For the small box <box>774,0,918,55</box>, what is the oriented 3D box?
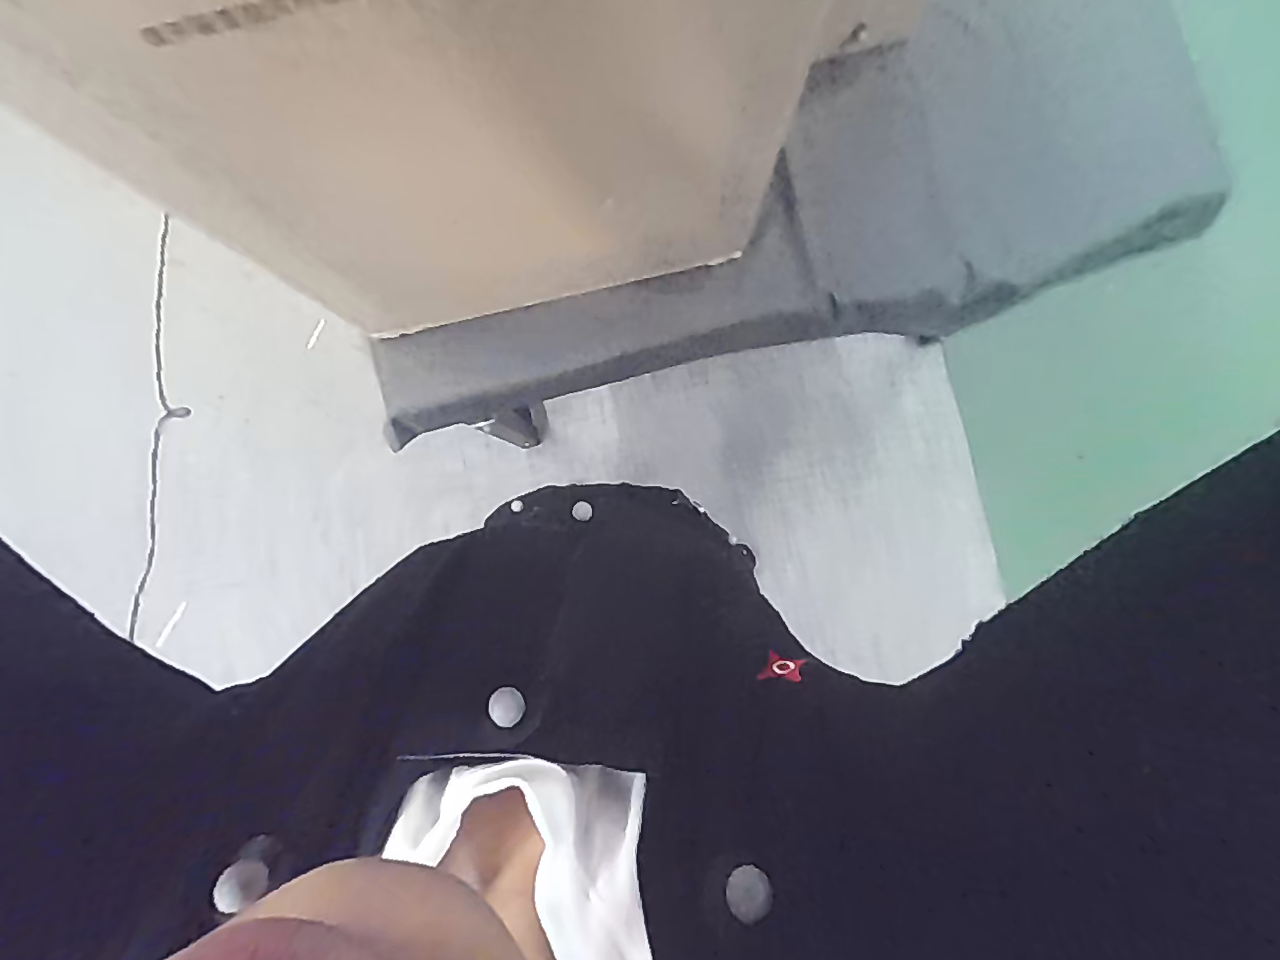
[{"bbox_3d":[0.277,-0.701,0.692,0.179,0.176,0.168,-14,88,0],"label":"small box"}]
